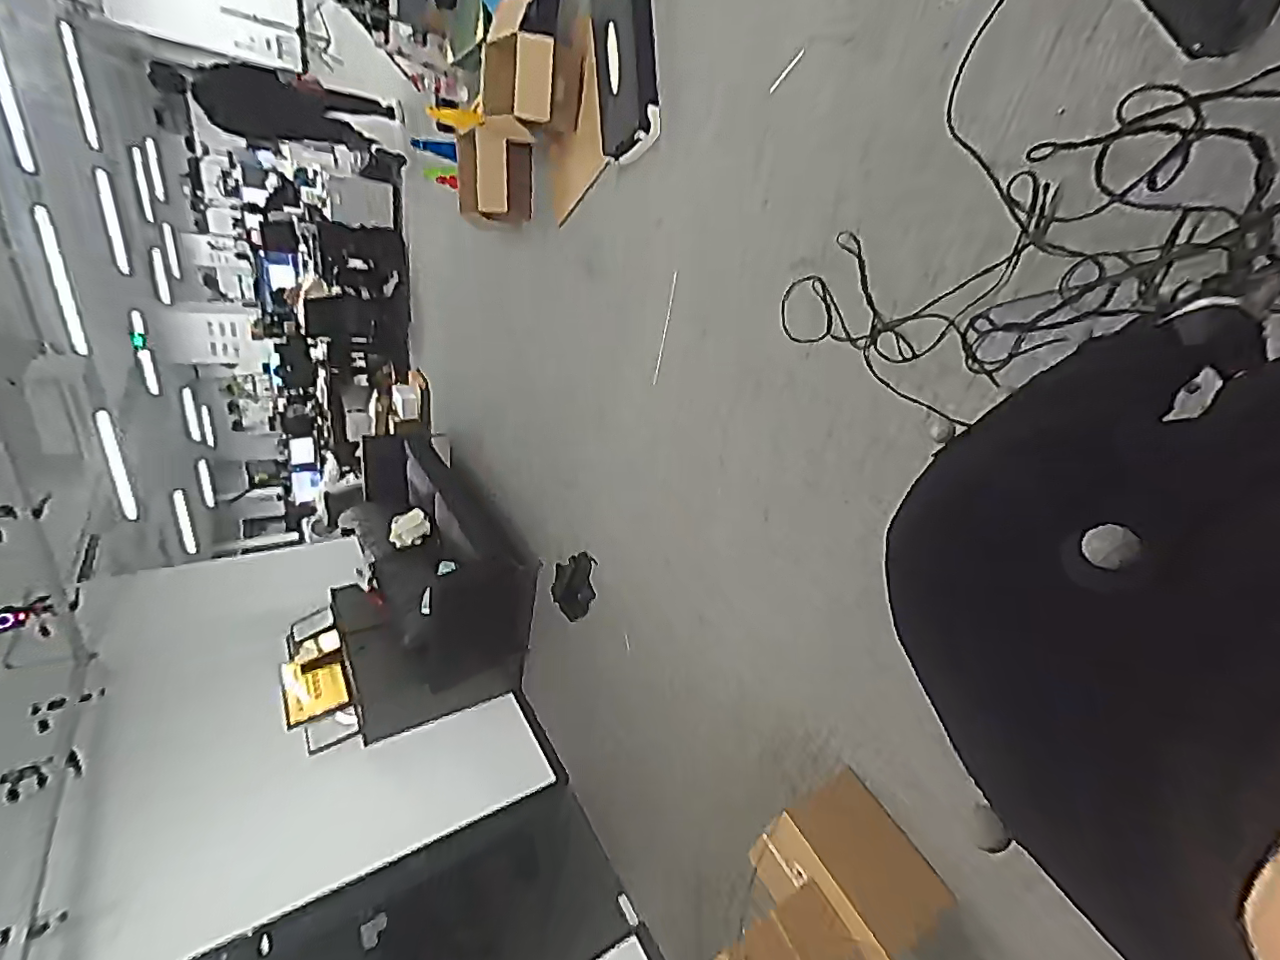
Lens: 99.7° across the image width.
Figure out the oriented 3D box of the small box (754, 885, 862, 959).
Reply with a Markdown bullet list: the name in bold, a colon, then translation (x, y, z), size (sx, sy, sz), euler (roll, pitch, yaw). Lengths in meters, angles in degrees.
- **small box**: translation (0.442, 1.218, 1.429), size (0.179, 0.176, 0.168), euler (48, 135, 38)

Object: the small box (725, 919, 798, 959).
- **small box**: translation (0.308, 1.255, 1.343), size (0.179, 0.176, 0.168), euler (49, 136, 39)

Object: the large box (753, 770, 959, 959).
- **large box**: translation (0.618, 1.169, 1.593), size (0.408, 0.320, 0.320), euler (49, 134, 40)
